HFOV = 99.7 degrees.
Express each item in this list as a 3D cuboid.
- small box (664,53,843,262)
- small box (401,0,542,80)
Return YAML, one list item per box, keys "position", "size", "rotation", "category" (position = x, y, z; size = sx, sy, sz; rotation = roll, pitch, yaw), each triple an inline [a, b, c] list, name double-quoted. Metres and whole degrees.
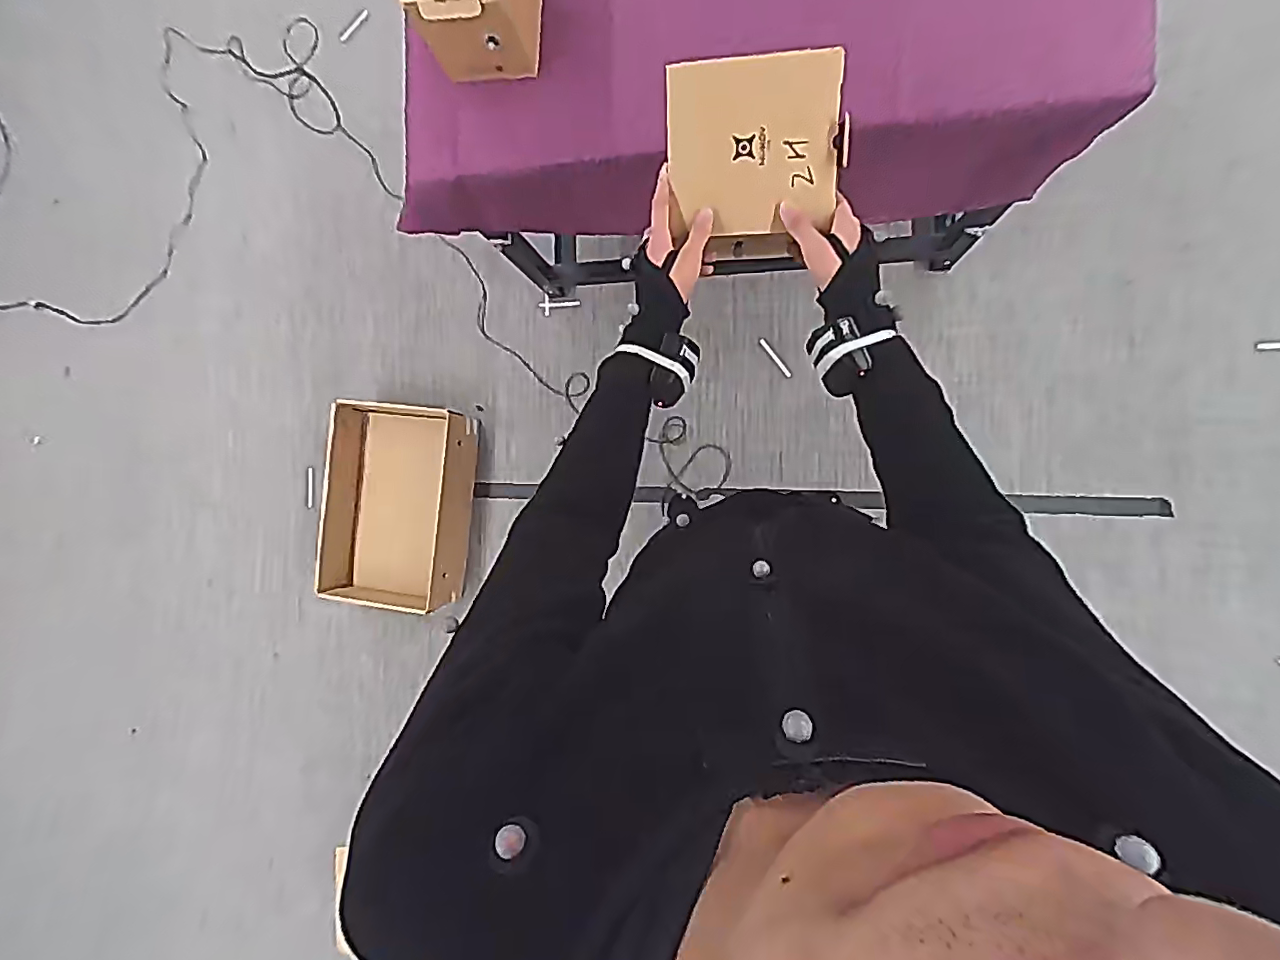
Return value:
- position: [0.122, -0.354, 0.628]
  size: [0.179, 0.176, 0.168]
  rotation: [0, 104, 7]
  category: "small box"
- position: [-0.273, -0.810, 0.909]
  size: [0.168, 0.176, 0.179]
  rotation: [5, 90, 10]
  category: "small box"
